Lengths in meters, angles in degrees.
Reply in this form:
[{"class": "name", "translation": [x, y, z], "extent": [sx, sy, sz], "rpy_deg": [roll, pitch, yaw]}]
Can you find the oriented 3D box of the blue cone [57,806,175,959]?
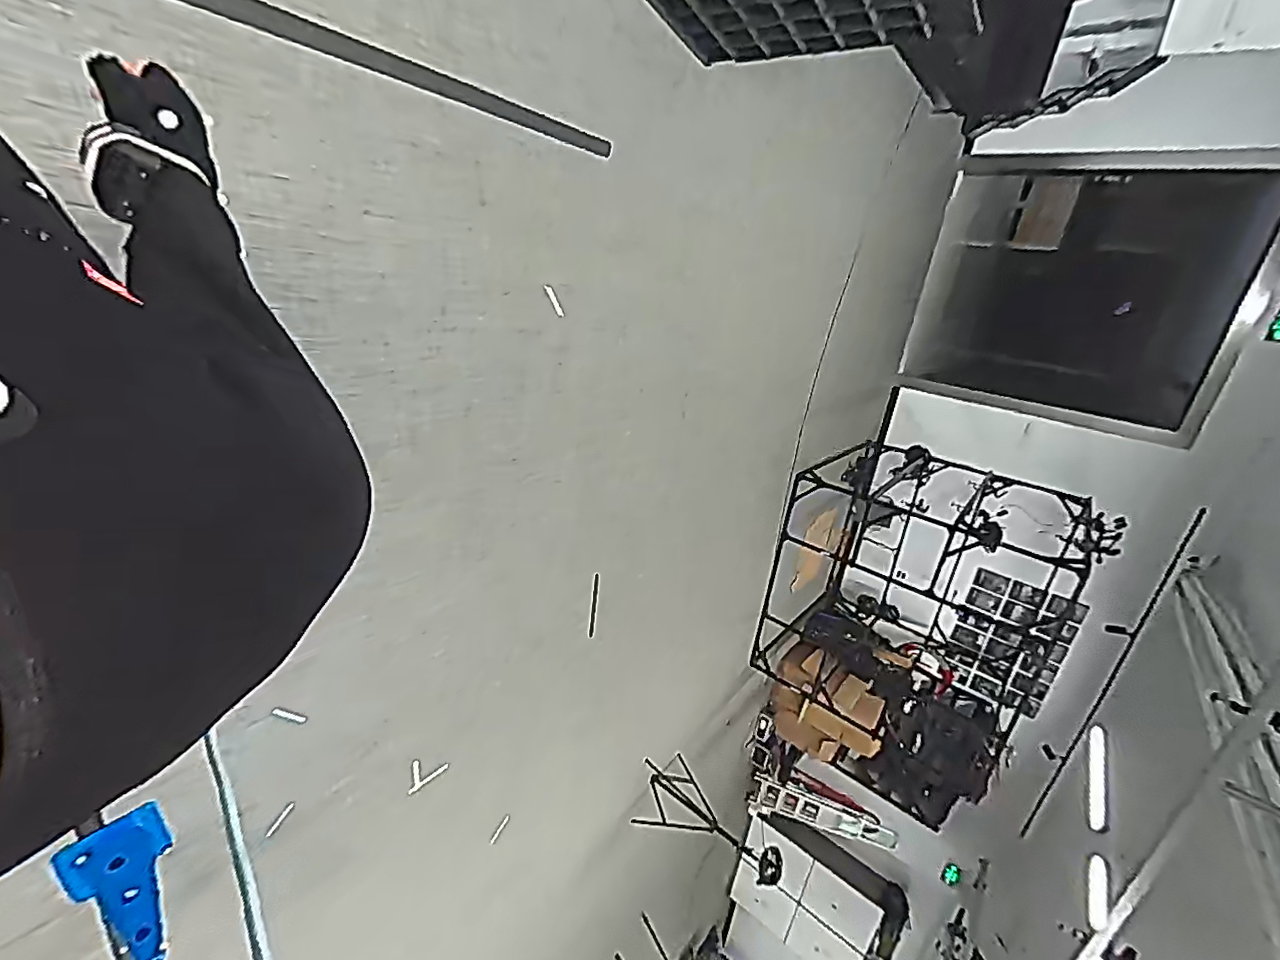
[{"class": "blue cone", "translation": [-1.212, 1.005, 1.295], "extent": [0.192, 0.380, 0.193], "rpy_deg": [-23, 127, -48]}]
